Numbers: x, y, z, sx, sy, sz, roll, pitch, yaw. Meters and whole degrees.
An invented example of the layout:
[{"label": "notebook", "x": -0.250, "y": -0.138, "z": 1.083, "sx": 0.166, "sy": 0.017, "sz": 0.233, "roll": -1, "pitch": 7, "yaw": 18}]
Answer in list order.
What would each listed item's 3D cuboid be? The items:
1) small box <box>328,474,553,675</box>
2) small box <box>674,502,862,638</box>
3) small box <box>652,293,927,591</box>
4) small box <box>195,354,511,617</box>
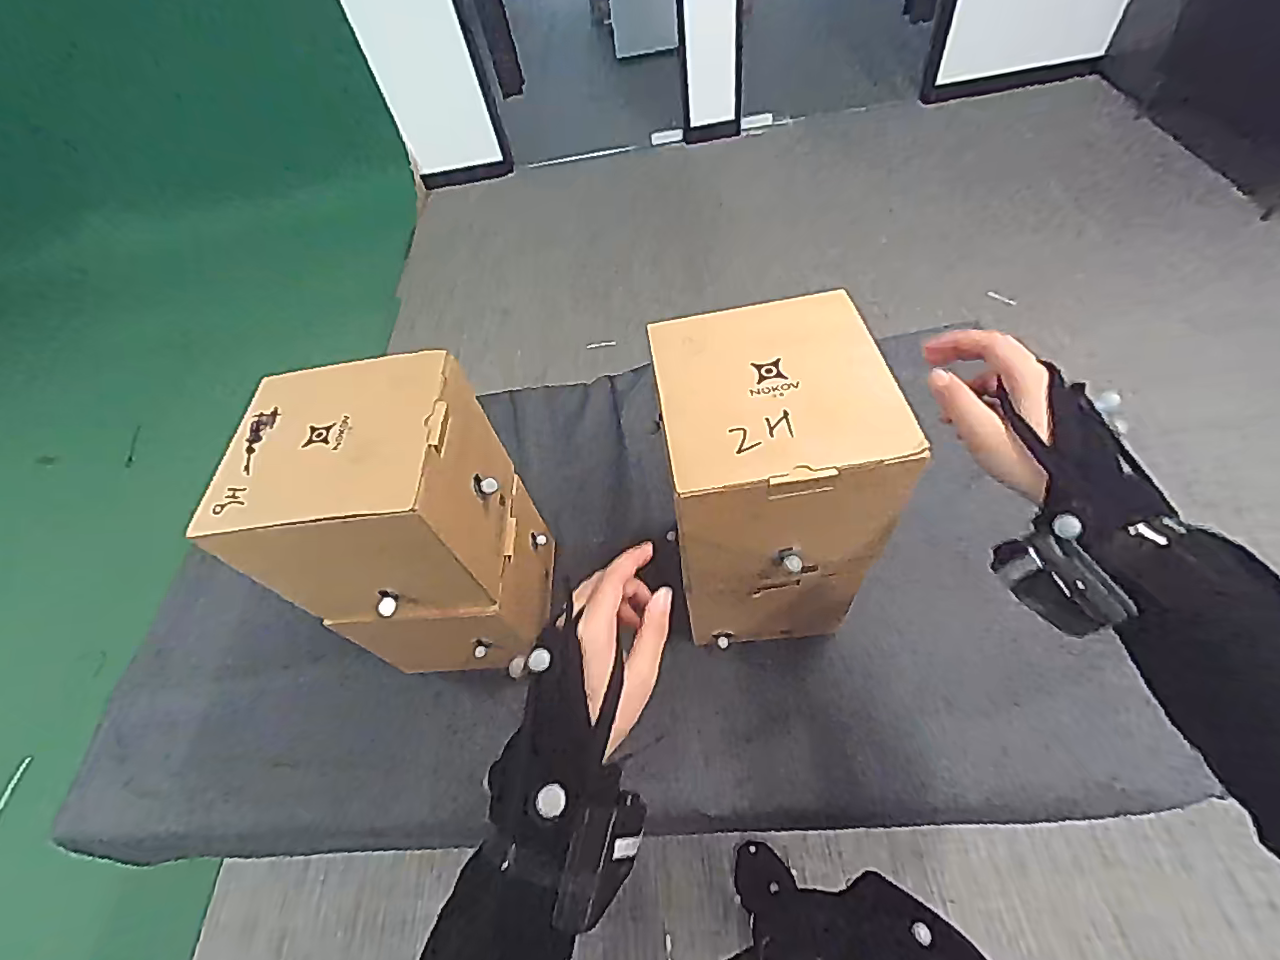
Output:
[{"label": "small box", "x": -0.206, "y": 0.114, "z": 0.620, "sx": 0.179, "sy": 0.176, "sz": 0.168, "roll": -6, "pitch": 53, "yaw": 5}, {"label": "small box", "x": 0.127, "y": 0.066, "z": 0.599, "sx": 0.168, "sy": 0.176, "sz": 0.179, "roll": -6, "pitch": 53, "yaw": 4}, {"label": "small box", "x": 0.107, "y": -0.028, "z": 0.464, "sx": 0.168, "sy": 0.176, "sz": 0.179, "roll": -10, "pitch": 53, "yaw": 3}, {"label": "small box", "x": -0.229, "y": 0.012, "z": 0.493, "sx": 0.179, "sy": 0.176, "sz": 0.168, "roll": -7, "pitch": 54, "yaw": 4}]
